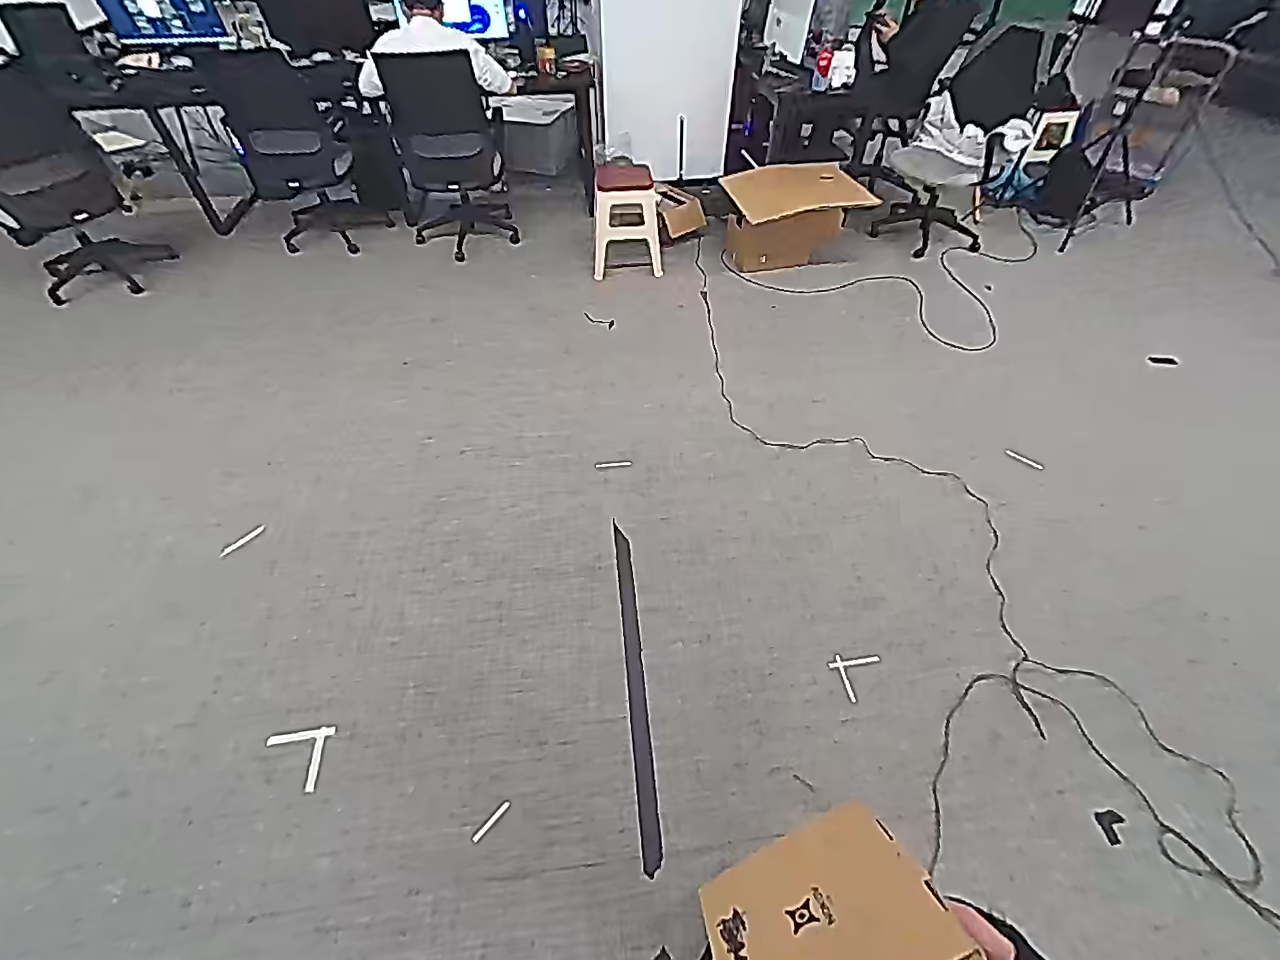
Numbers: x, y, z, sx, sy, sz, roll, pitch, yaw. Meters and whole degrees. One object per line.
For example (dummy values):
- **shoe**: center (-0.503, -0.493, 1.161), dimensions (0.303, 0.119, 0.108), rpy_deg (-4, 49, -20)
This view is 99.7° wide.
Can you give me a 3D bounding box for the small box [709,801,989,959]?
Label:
- **small box**: center (0.182, 0.419, 0.439), dimensions (0.179, 0.168, 0.176), rpy_deg (-27, 91, -3)
